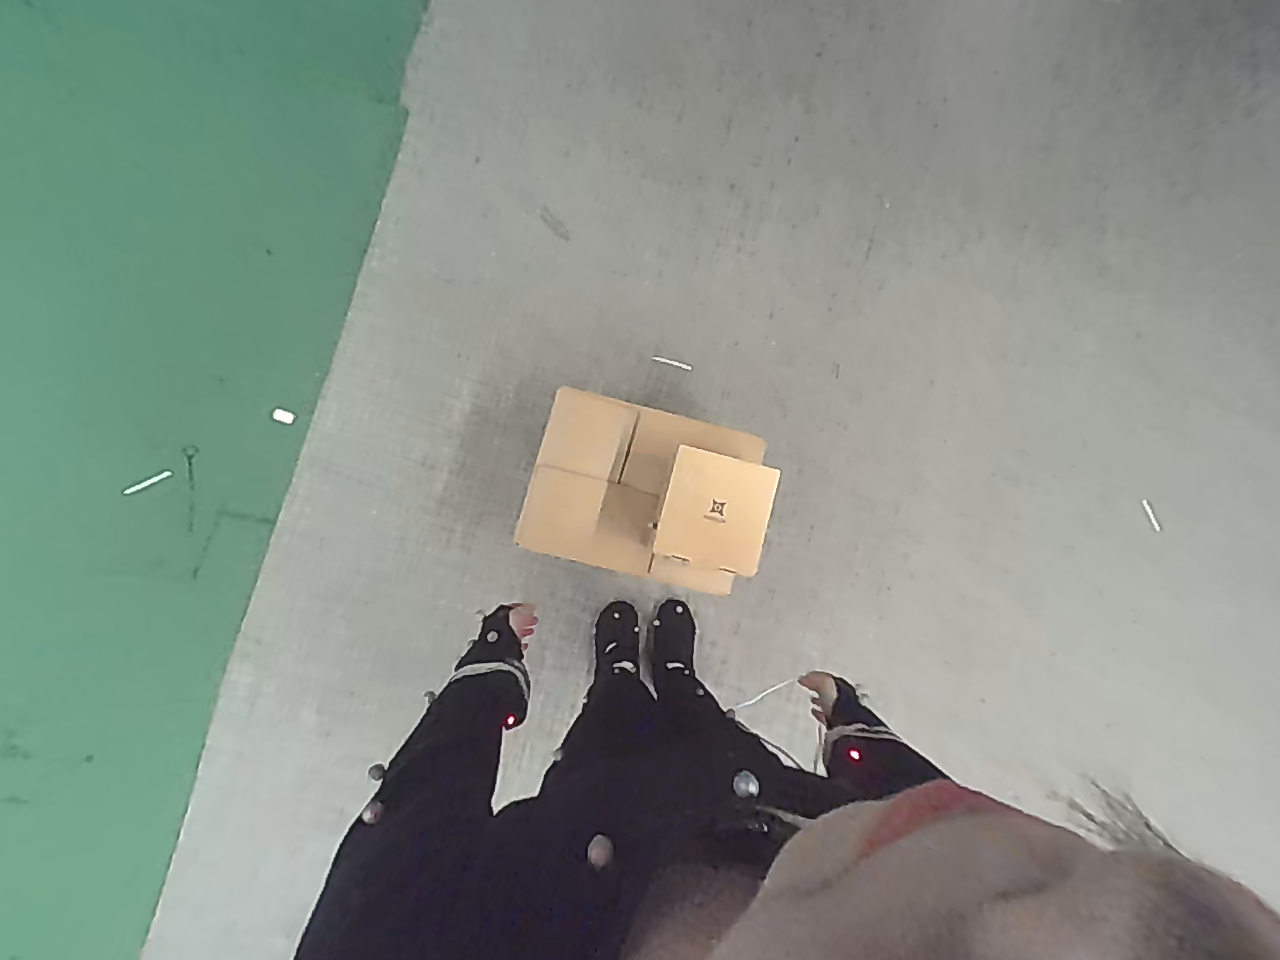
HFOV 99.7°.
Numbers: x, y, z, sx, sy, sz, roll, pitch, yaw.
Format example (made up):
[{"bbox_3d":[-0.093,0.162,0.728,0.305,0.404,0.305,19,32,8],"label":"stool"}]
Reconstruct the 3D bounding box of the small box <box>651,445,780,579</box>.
[{"bbox_3d":[0.117,0.054,0.912,0.168,0.176,0.179,15,86,0],"label":"small box"}]
